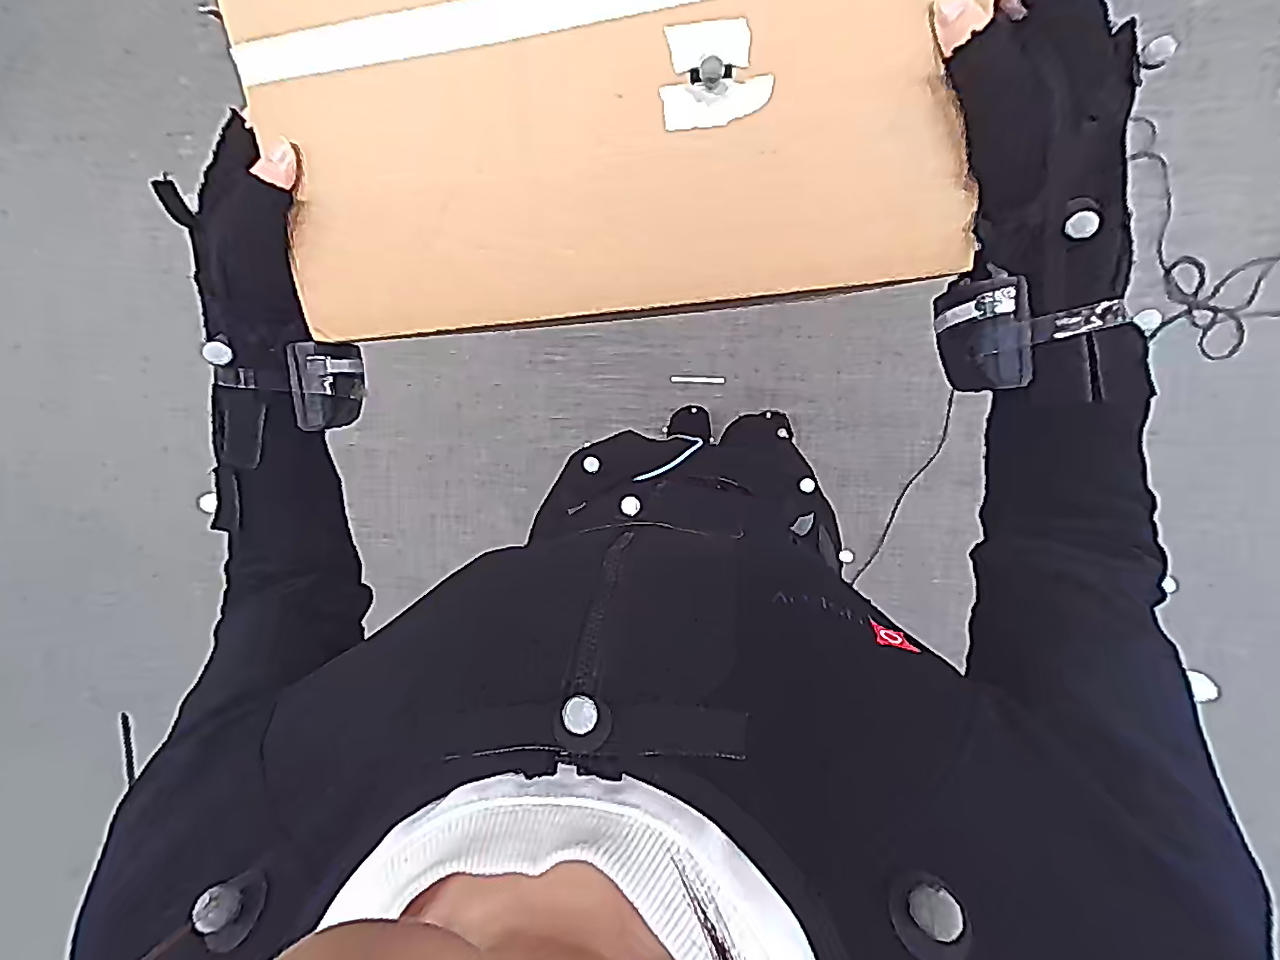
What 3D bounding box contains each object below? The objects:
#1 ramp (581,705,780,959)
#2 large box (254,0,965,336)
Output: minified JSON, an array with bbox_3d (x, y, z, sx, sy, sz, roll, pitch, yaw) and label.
[{"bbox_3d":[0.094,1.156,1.480,0.509,0.206,0.991,4,96,10],"label":"ramp"},{"bbox_3d":[-0.014,-0.304,0.444,0.408,0.320,0.320,-5,107,7],"label":"large box"}]
